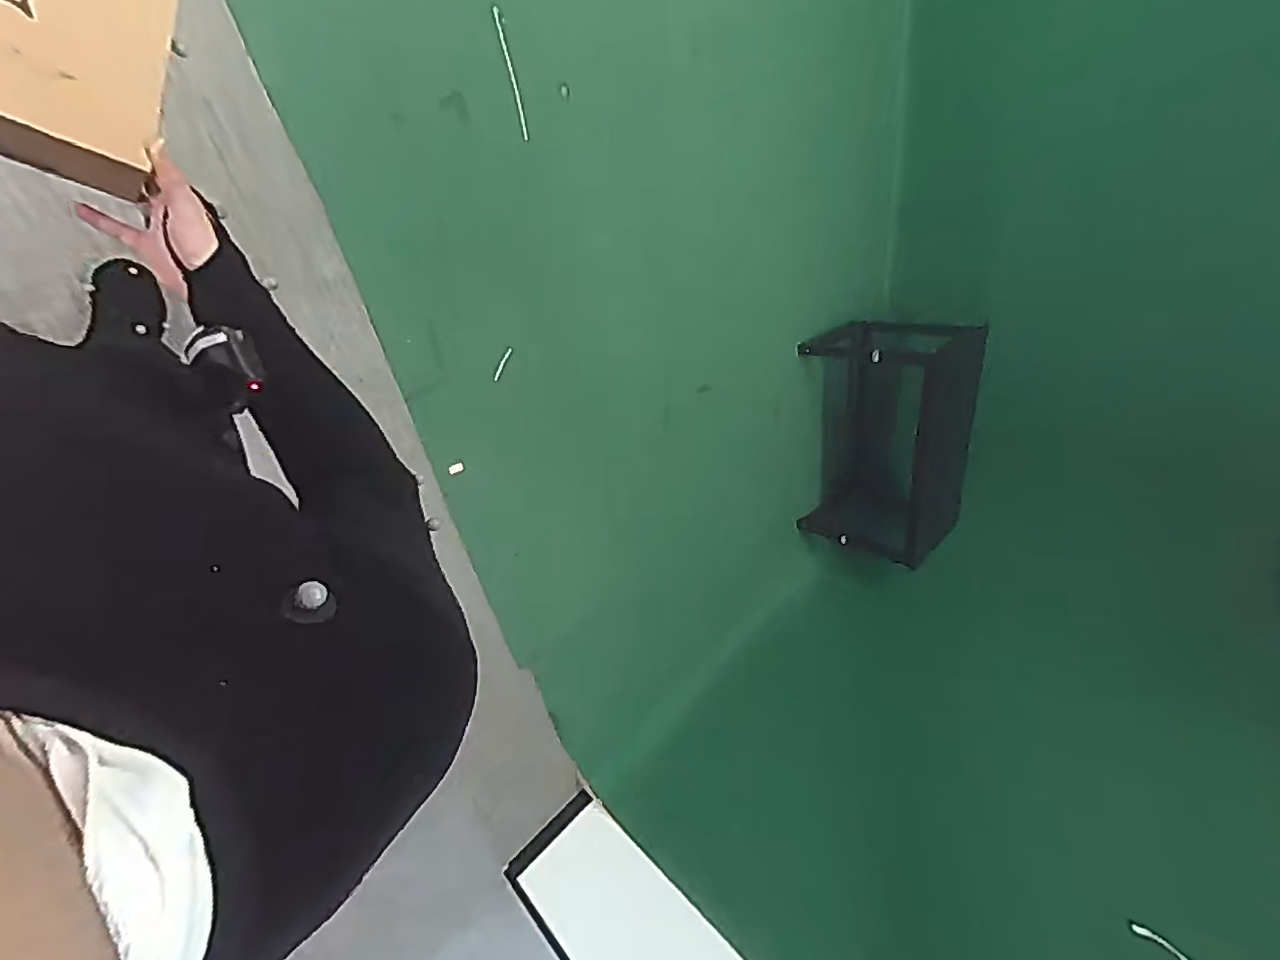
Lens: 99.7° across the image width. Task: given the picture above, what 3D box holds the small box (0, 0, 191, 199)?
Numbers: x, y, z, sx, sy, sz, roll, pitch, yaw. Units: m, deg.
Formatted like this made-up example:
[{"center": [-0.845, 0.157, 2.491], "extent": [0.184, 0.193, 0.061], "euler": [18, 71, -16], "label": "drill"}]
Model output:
[{"center": [-0.486, -0.354, 0.430], "extent": [0.168, 0.176, 0.179], "euler": [8, 97, -48], "label": "small box"}]

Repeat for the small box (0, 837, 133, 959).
[{"center": [-0.922, 0.708, 0.835], "extent": [0.168, 0.176, 0.179], "euler": [-25, 123, -37], "label": "small box"}]

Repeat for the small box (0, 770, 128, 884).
[{"center": [-1.037, 0.655, 0.941], "extent": [0.168, 0.176, 0.179], "euler": [-27, 123, -36], "label": "small box"}]
